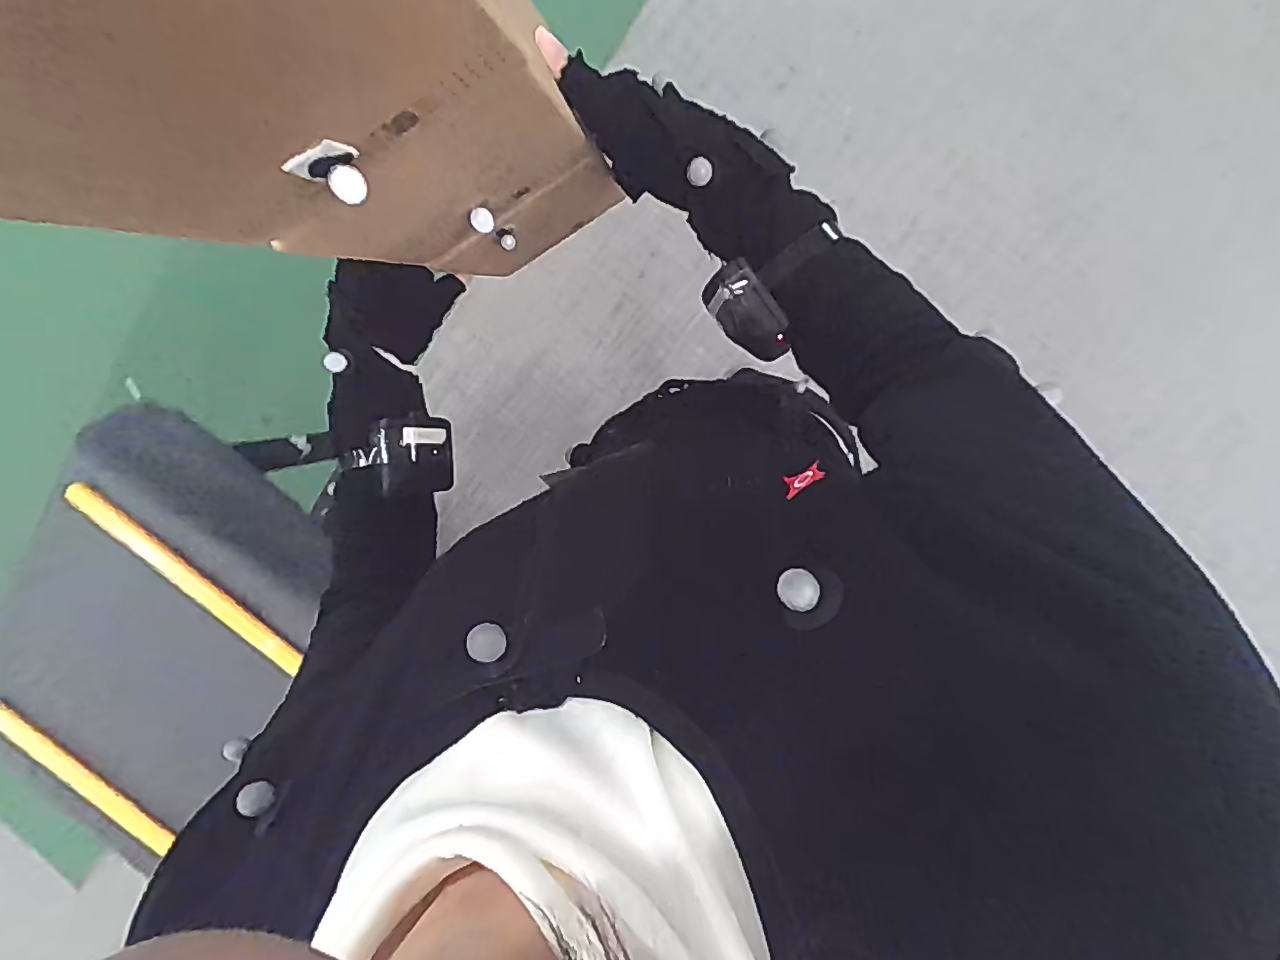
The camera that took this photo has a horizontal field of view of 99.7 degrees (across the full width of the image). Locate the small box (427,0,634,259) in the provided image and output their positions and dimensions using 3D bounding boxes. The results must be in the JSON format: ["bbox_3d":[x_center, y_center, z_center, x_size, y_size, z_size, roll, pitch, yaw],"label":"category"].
[{"bbox_3d":[-0.123,-0.318,0.477,0.168,0.176,0.179,-26,103,16],"label":"small box"}]

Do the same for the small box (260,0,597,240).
[{"bbox_3d":[-0.146,-0.268,0.321,0.168,0.176,0.179,-24,104,15],"label":"small box"}]
